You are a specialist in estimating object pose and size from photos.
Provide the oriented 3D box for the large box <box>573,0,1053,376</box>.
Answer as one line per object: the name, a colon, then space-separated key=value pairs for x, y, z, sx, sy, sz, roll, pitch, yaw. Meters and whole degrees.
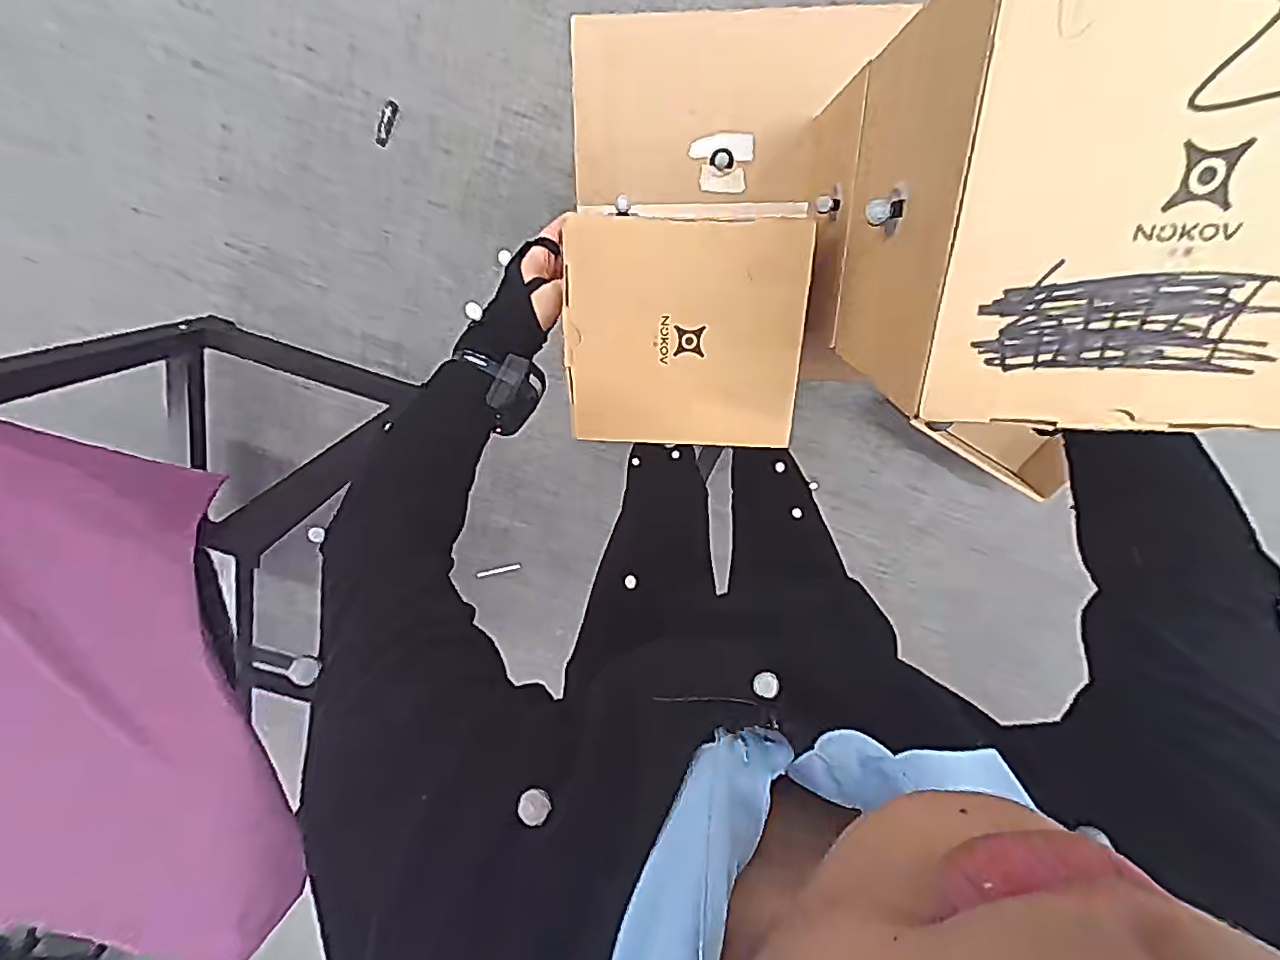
large box: x=0.158 y=-0.313 z=0.649 sx=0.408 sy=0.320 sz=0.320 roll=1 pitch=113 yaw=6

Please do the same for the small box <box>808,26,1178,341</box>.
small box: x=0.232 y=-0.209 z=0.417 sx=0.168 sy=0.176 sz=0.179 roll=2 pitch=115 yaw=7
